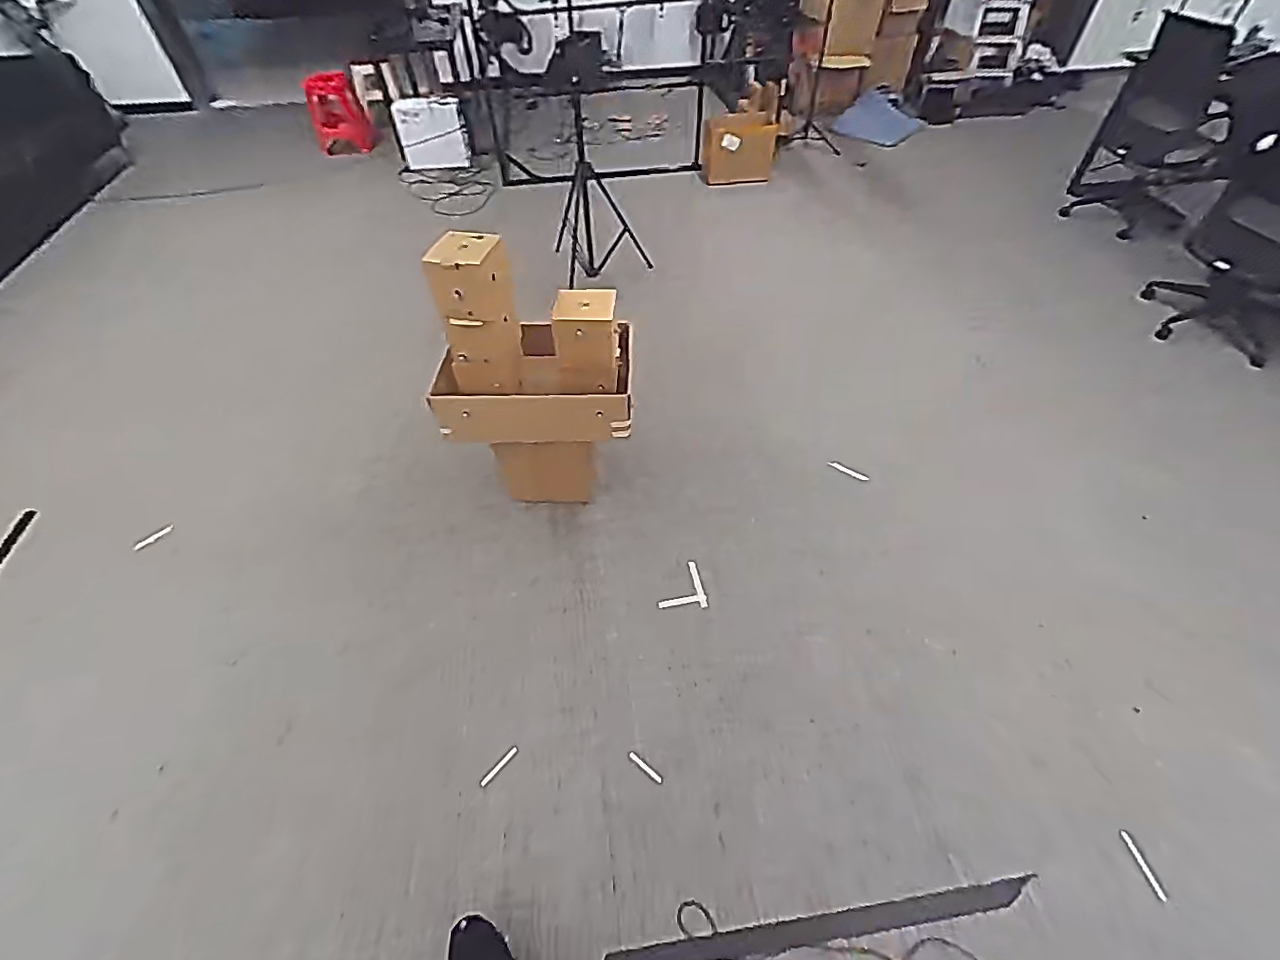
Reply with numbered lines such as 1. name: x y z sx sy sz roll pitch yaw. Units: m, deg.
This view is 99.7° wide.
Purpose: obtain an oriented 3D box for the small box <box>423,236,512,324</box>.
1. small box: -0.474 -0.561 1.522 0.168 0.176 0.179 8 50 8

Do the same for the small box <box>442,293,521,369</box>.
1. small box: -0.472 -0.458 1.650 0.168 0.176 0.179 5 49 6

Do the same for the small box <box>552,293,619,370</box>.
1. small box: -0.156 -0.446 1.633 0.179 0.176 0.168 1 48 3
